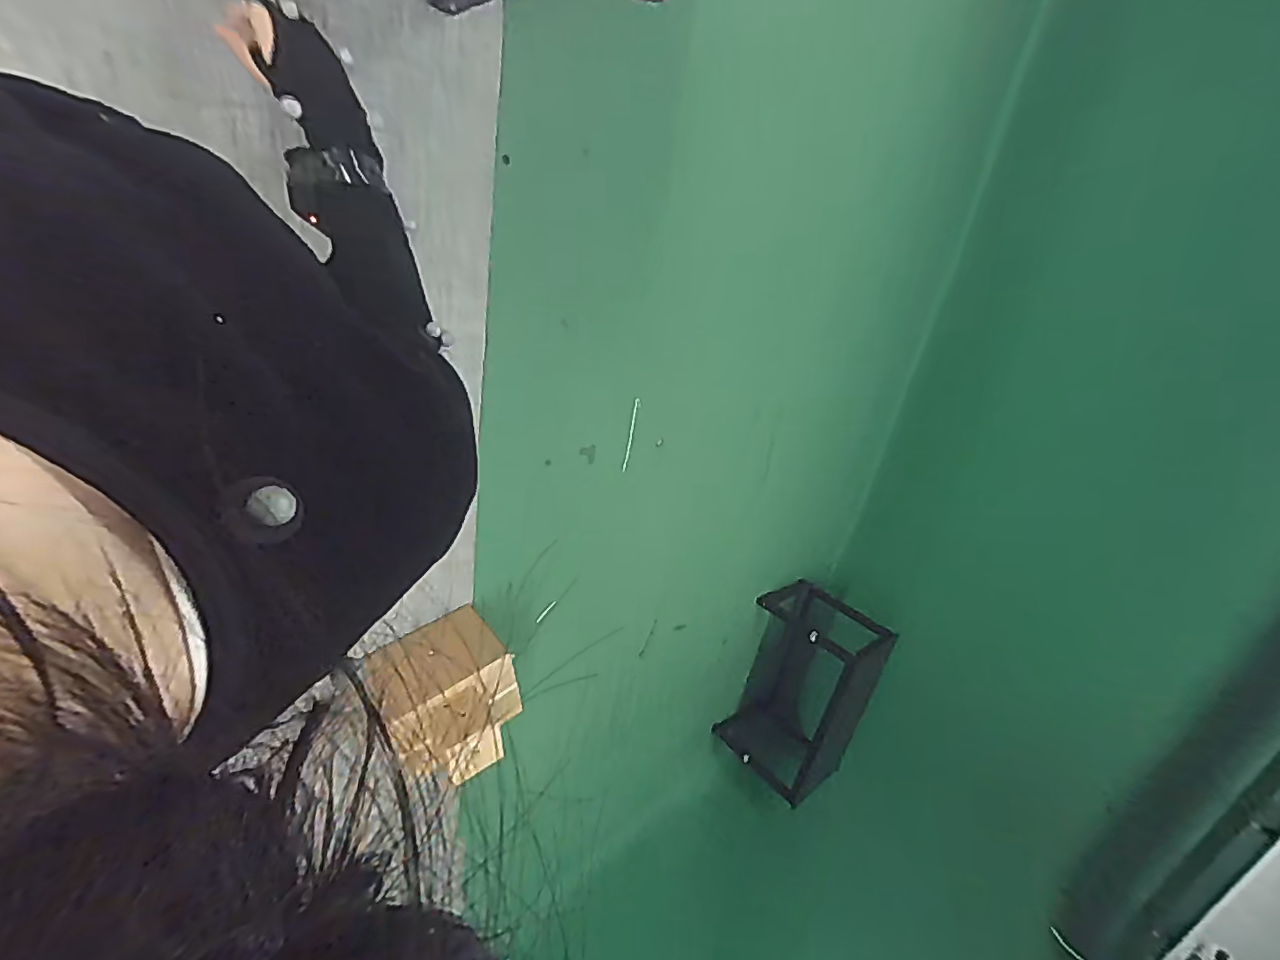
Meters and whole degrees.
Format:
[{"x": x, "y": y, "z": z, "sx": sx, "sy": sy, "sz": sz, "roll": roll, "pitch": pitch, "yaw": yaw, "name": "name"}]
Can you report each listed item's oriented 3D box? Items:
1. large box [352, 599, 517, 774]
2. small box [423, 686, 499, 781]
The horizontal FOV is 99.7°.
[{"x": -0.695, "y": 0.687, "z": 1.855, "sx": 0.408, "sy": 0.320, "sz": 0.320, "roll": -26, "pitch": 131, "yaw": -34, "name": "large box"}, {"x": -0.552, "y": 0.768, "z": 1.666, "sx": 0.168, "sy": 0.176, "sz": 0.179, "roll": -19, "pitch": 126, "yaw": -36, "name": "small box"}]
